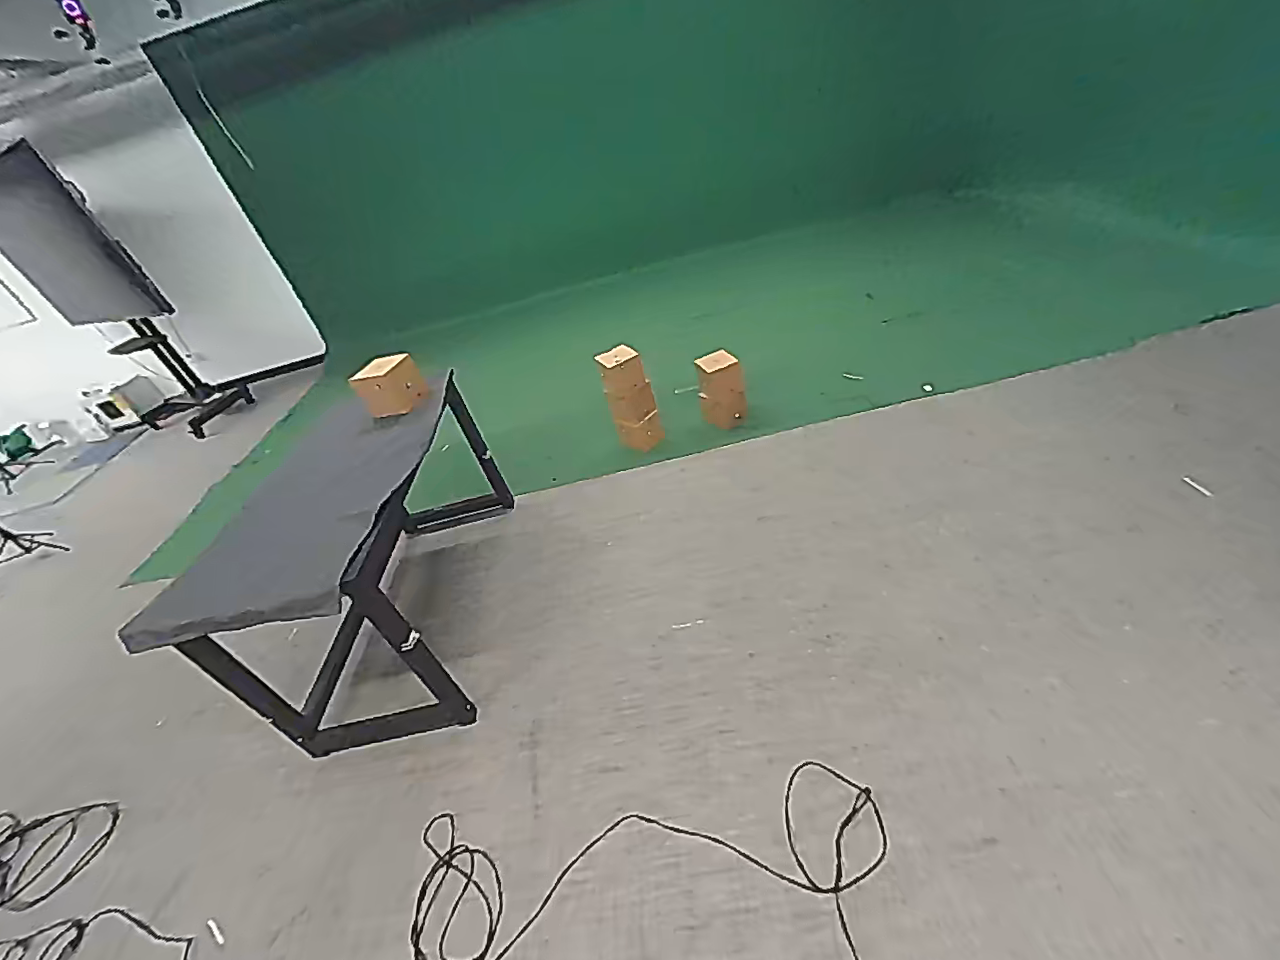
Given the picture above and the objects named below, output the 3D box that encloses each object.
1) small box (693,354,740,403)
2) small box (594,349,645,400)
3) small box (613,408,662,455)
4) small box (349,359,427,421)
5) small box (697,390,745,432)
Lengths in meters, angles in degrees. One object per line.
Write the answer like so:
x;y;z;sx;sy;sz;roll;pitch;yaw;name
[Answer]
0.384;-0.499;2.688;0.168;0.176;0.179;-23;35;-10;small box
-0.099;-0.509;2.623;0.168;0.176;0.179;-29;37;-15;small box
-0.009;-0.246;2.800;0.179;0.176;0.168;19;50;40;small box
-0.952;-0.340;2.061;0.179;0.176;0.168;-3;38;23;small box
0.420;-0.367;2.776;0.168;0.176;0.179;-37;41;-25;small box
